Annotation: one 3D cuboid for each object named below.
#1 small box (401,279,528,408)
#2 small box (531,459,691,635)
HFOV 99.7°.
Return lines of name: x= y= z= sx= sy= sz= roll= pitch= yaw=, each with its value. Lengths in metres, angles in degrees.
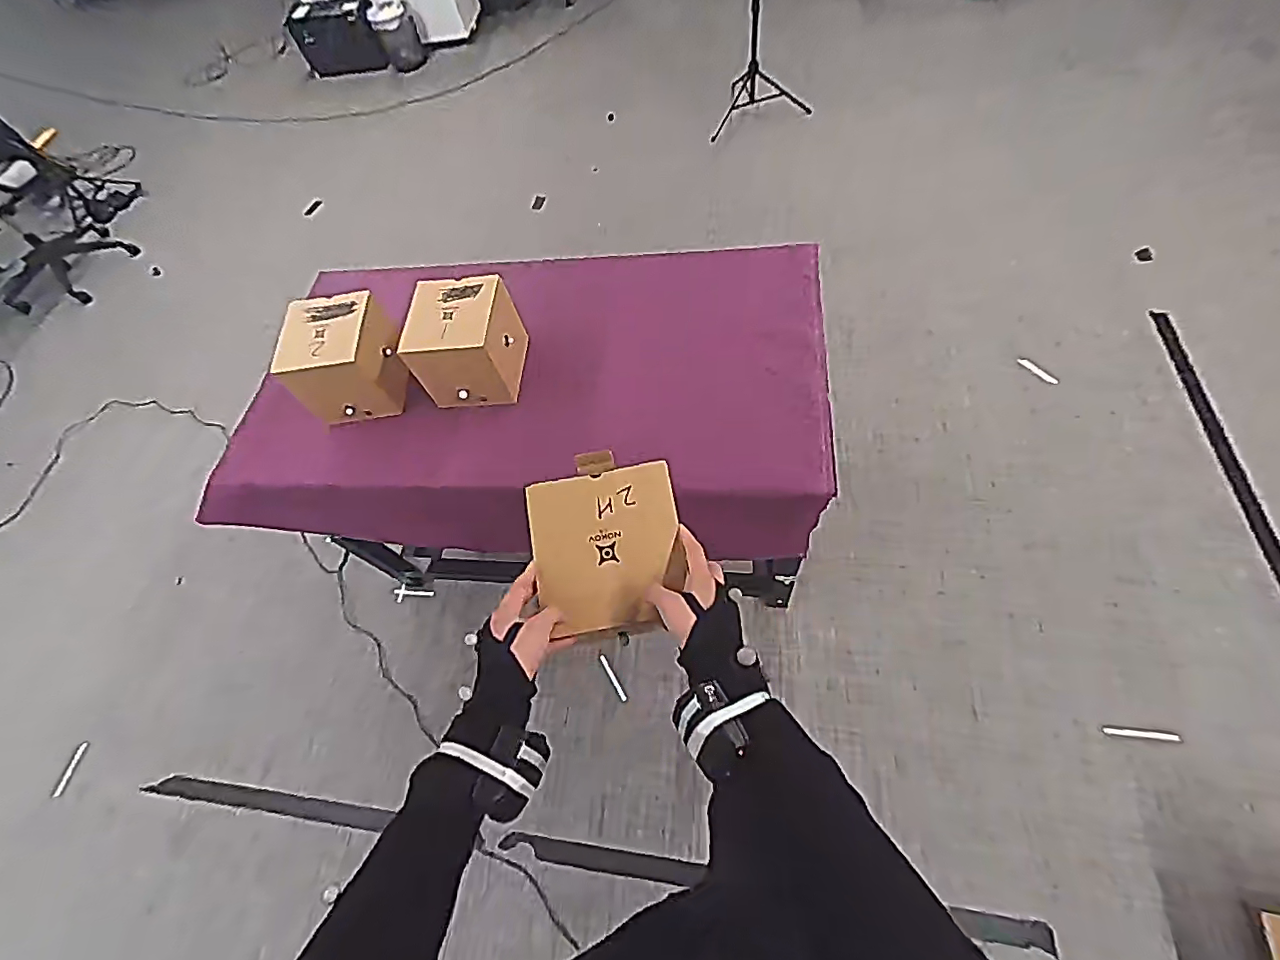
small box: x=-0.328 y=-0.261 z=1.050 sx=0.168 sy=0.176 sz=0.179 roll=-2 pitch=62 yaw=9
small box: x=-0.030 y=0.094 z=0.678 sx=0.168 sy=0.176 sz=0.179 roll=-10 pitch=70 yaw=0
